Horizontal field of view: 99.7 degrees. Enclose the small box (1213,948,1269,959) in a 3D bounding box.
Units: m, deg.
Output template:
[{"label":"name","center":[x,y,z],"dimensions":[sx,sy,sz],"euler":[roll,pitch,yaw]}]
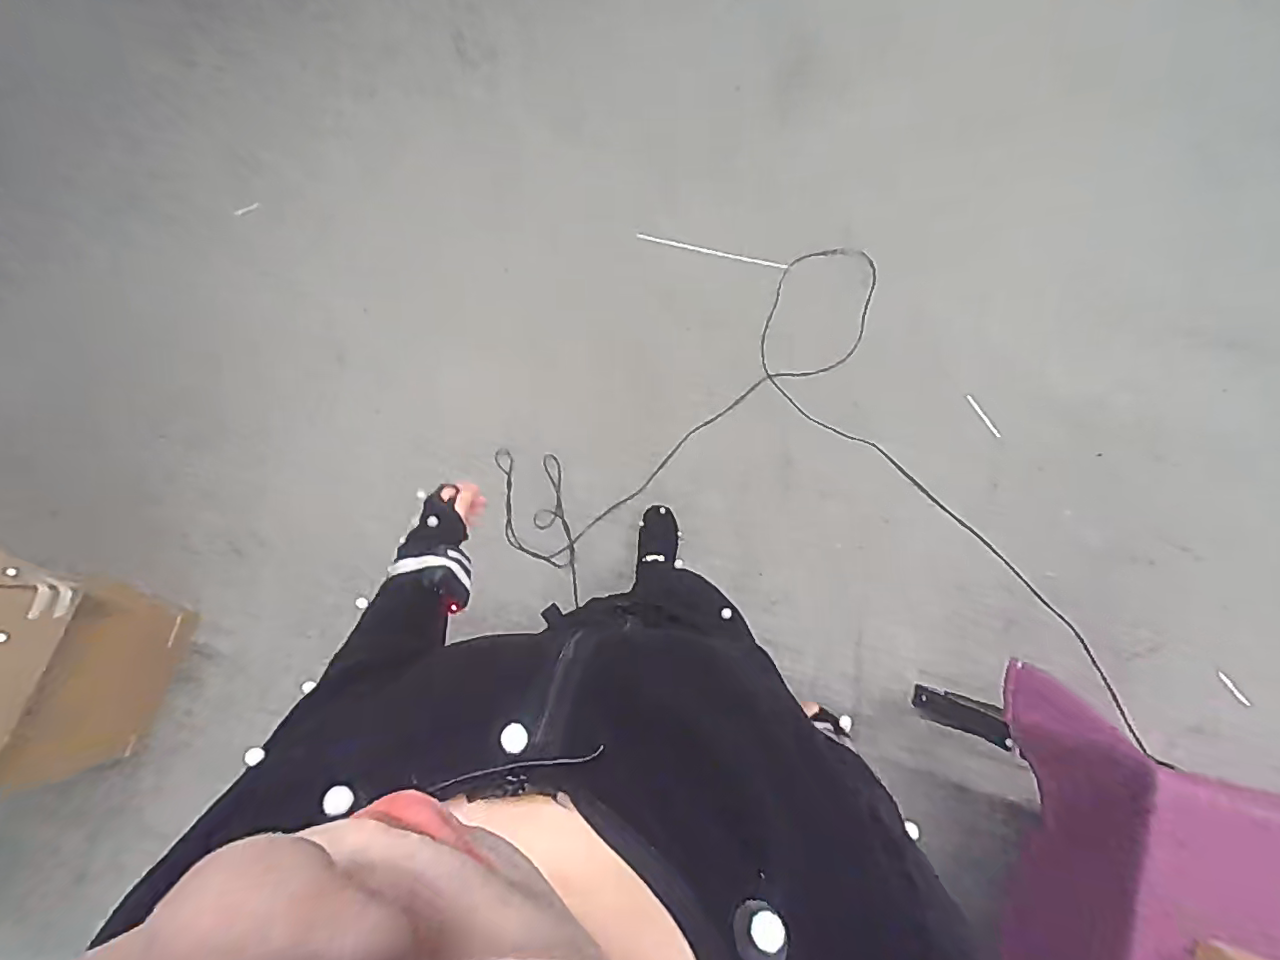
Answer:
[{"label":"small box","center":[0.720,0.631,0.543],"dimensions":[0.179,0.176,0.168],"euler":[16,82,8]}]
